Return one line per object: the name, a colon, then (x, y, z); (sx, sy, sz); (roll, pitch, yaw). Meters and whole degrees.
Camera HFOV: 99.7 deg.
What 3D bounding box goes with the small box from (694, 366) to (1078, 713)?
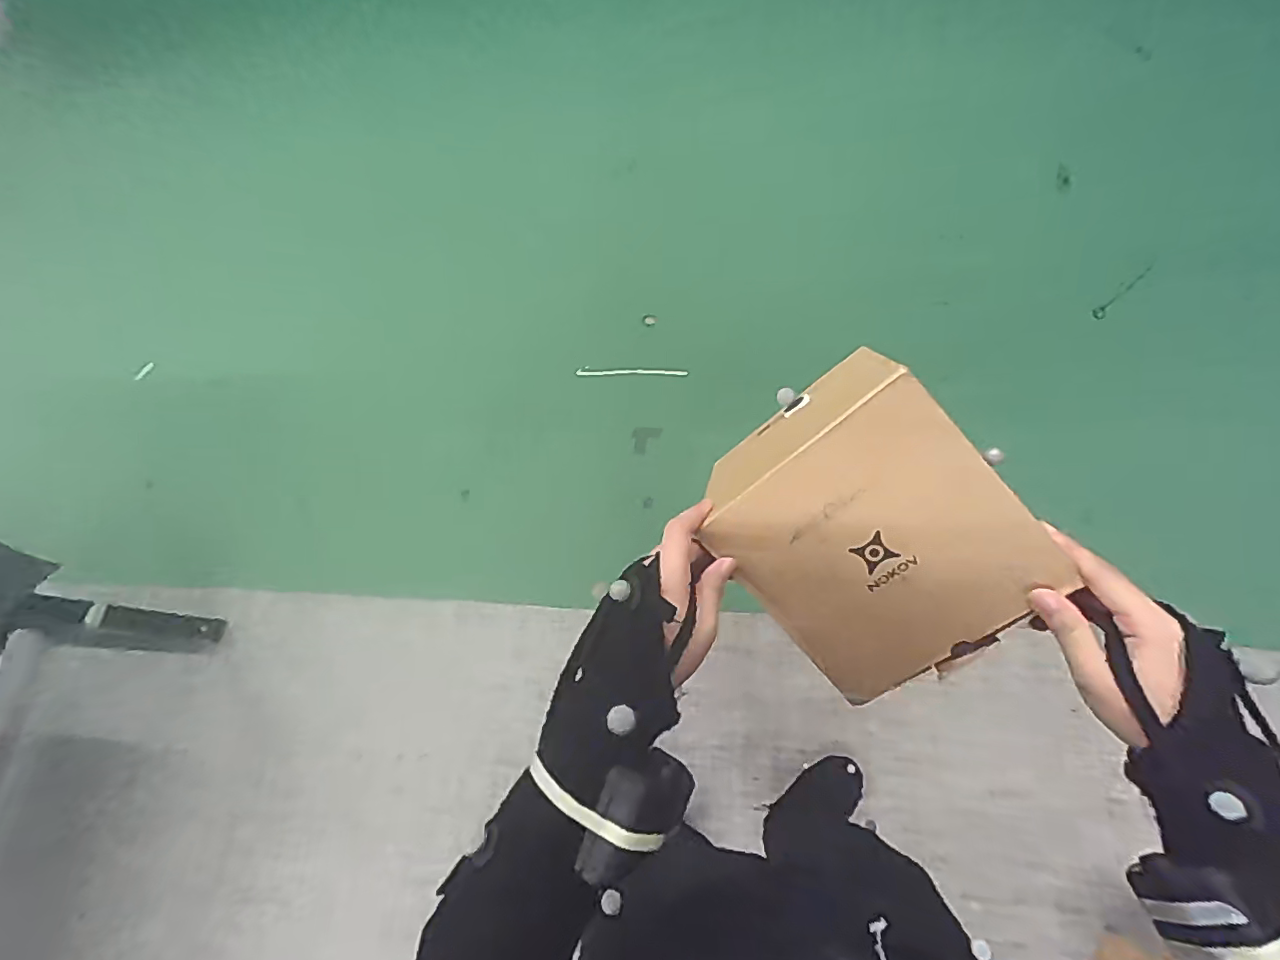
small box: (0.168, 0.030, 0.419); (0.168, 0.176, 0.179); (-42, 94, 21)
